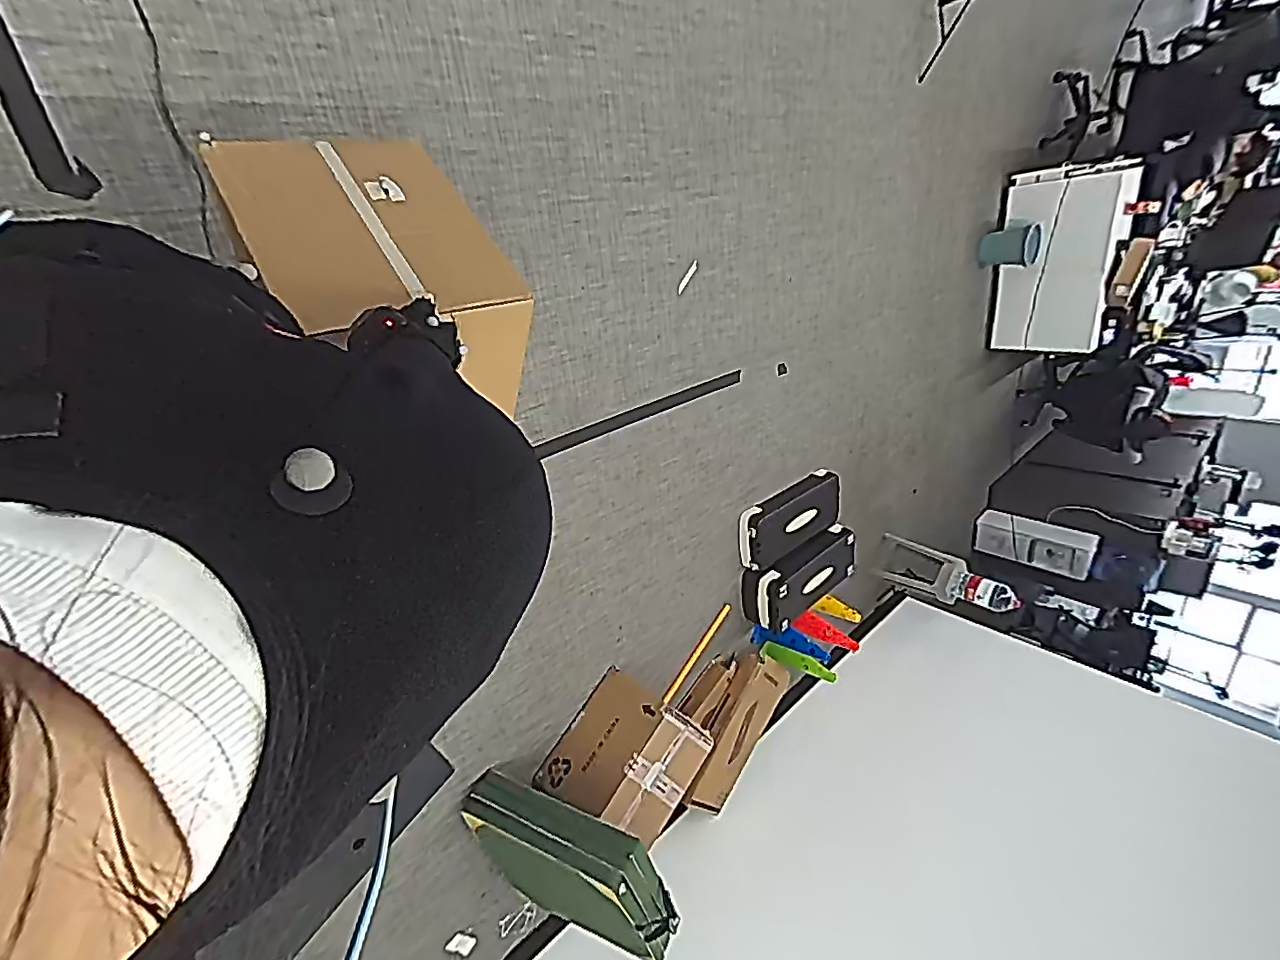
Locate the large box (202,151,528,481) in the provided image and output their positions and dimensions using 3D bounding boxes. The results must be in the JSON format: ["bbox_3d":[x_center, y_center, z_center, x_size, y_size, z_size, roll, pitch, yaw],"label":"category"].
[{"bbox_3d":[-0.432,-0.275,0.894,0.320,0.408,0.320,-23,156,-33],"label":"large box"}]
